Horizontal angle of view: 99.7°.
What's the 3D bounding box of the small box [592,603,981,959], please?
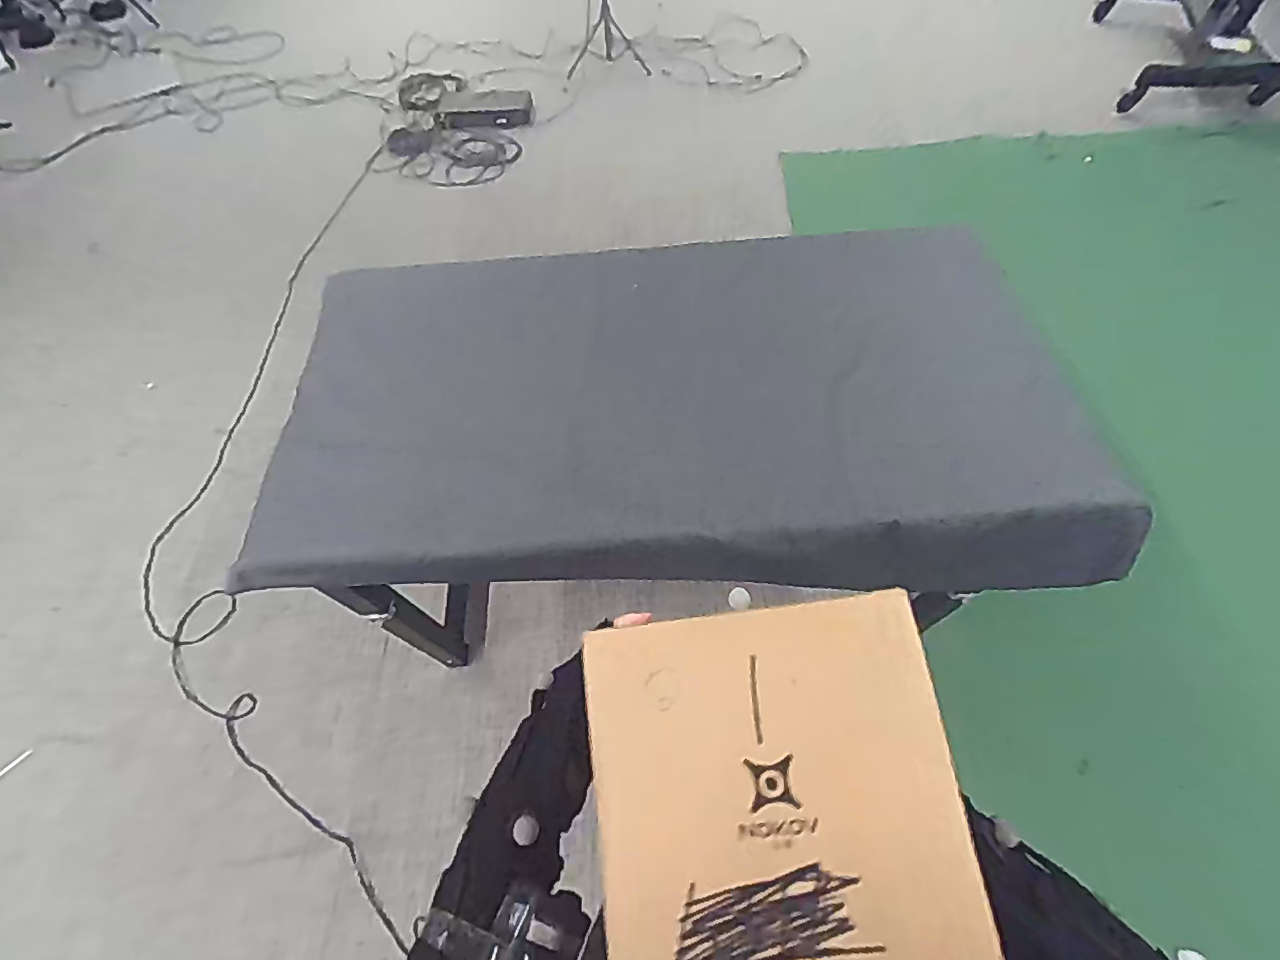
[{"bbox_3d":[0.072,0.176,0.336,0.168,0.176,0.179,-8,73,5],"label":"small box"}]
